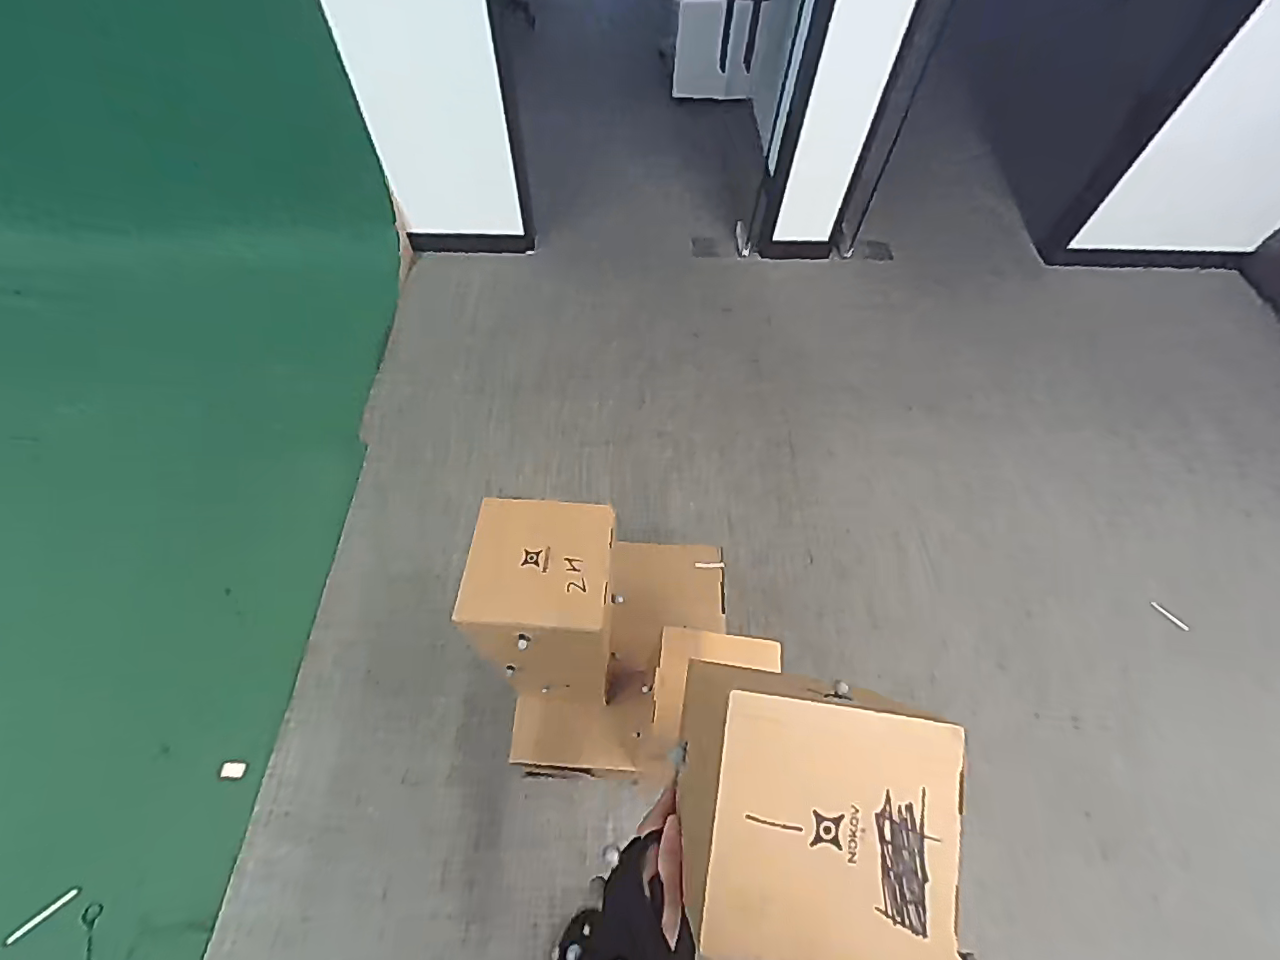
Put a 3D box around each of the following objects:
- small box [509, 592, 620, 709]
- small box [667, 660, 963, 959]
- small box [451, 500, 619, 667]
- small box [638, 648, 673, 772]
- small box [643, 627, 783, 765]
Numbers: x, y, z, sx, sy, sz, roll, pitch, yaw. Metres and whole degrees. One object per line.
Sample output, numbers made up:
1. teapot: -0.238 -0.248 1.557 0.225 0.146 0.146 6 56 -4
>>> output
1. small box: -0.130 0.309 1.004 0.168 0.176 0.179 6 57 3
2. small box: 0.128 0.252 0.447 0.179 0.176 0.168 10 77 -2
3. small box: -0.124 0.142 0.718 0.179 0.176 0.168 4 57 2
4. small box: 0.088 0.413 0.945 0.168 0.176 0.179 7 57 1
5. small box: 0.104 0.334 0.804 0.179 0.176 0.168 7 58 2
